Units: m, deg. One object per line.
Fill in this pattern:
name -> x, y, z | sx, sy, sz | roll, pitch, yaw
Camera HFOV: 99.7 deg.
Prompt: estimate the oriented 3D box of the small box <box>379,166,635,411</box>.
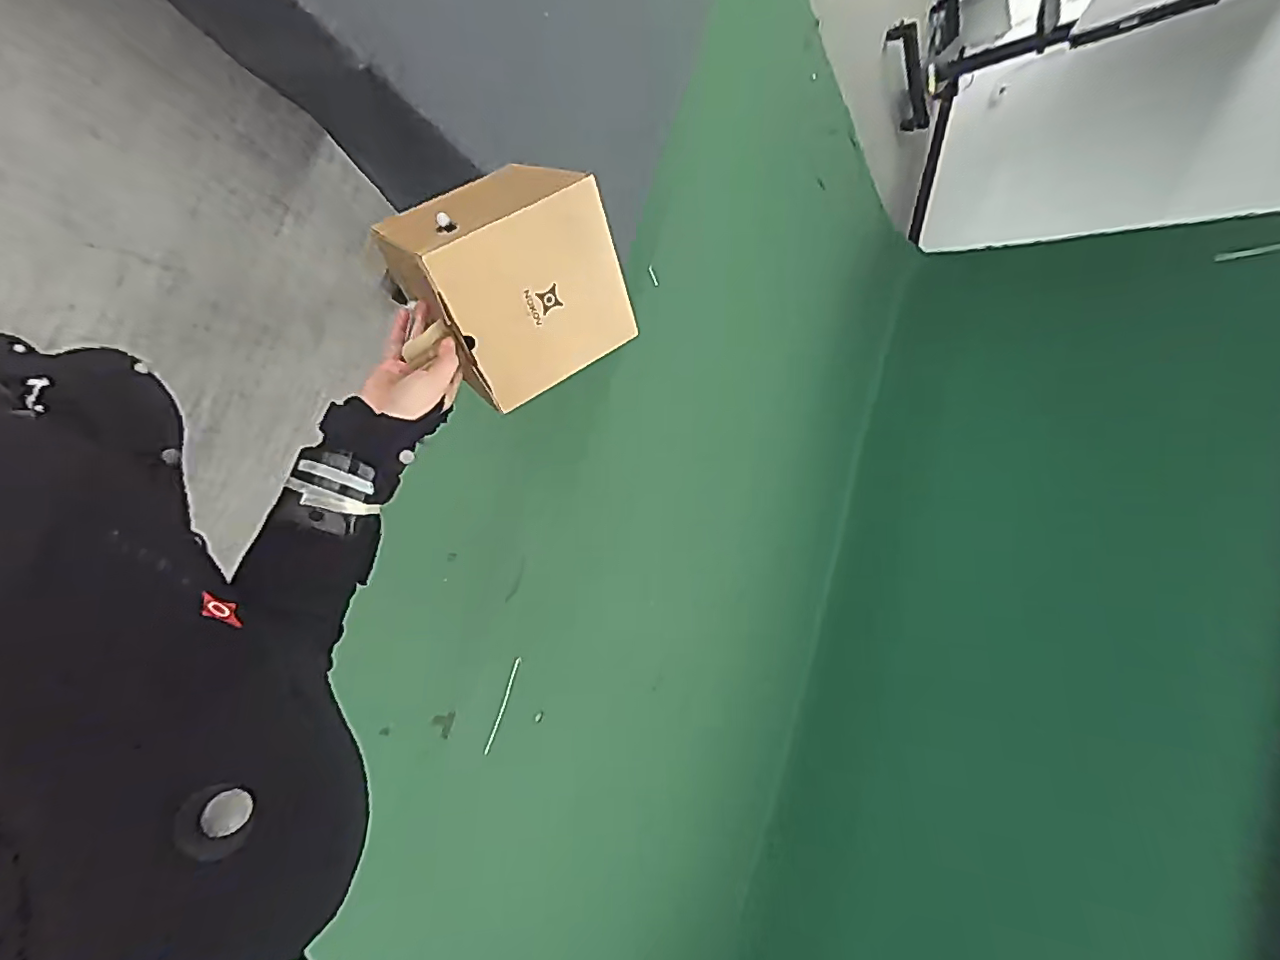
small box -> -0.136, -0.208, 0.565 | 0.179, 0.176, 0.168 | -35, 135, -16
